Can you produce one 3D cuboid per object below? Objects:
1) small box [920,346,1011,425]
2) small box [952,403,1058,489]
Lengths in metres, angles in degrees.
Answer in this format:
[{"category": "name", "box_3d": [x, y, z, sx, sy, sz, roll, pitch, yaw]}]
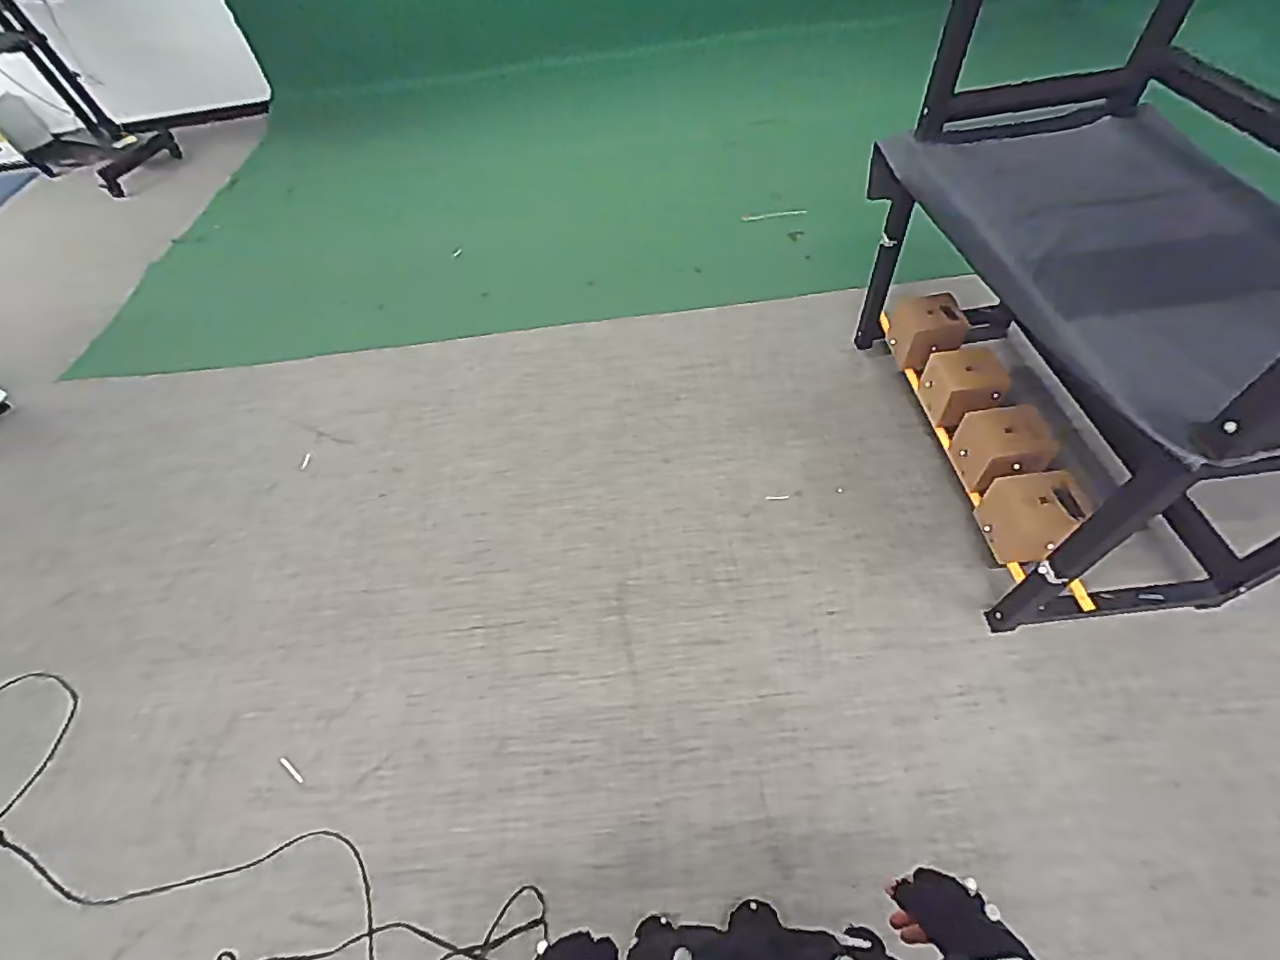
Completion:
[{"category": "small box", "box_3d": [0.987, -0.286, 1.664, 0.179, 0.176, 0.168, -7, 55, 4]}, {"category": "small box", "box_3d": [1.008, -0.090, 1.518, 0.179, 0.176, 0.168, -7, 54, 3]}]
